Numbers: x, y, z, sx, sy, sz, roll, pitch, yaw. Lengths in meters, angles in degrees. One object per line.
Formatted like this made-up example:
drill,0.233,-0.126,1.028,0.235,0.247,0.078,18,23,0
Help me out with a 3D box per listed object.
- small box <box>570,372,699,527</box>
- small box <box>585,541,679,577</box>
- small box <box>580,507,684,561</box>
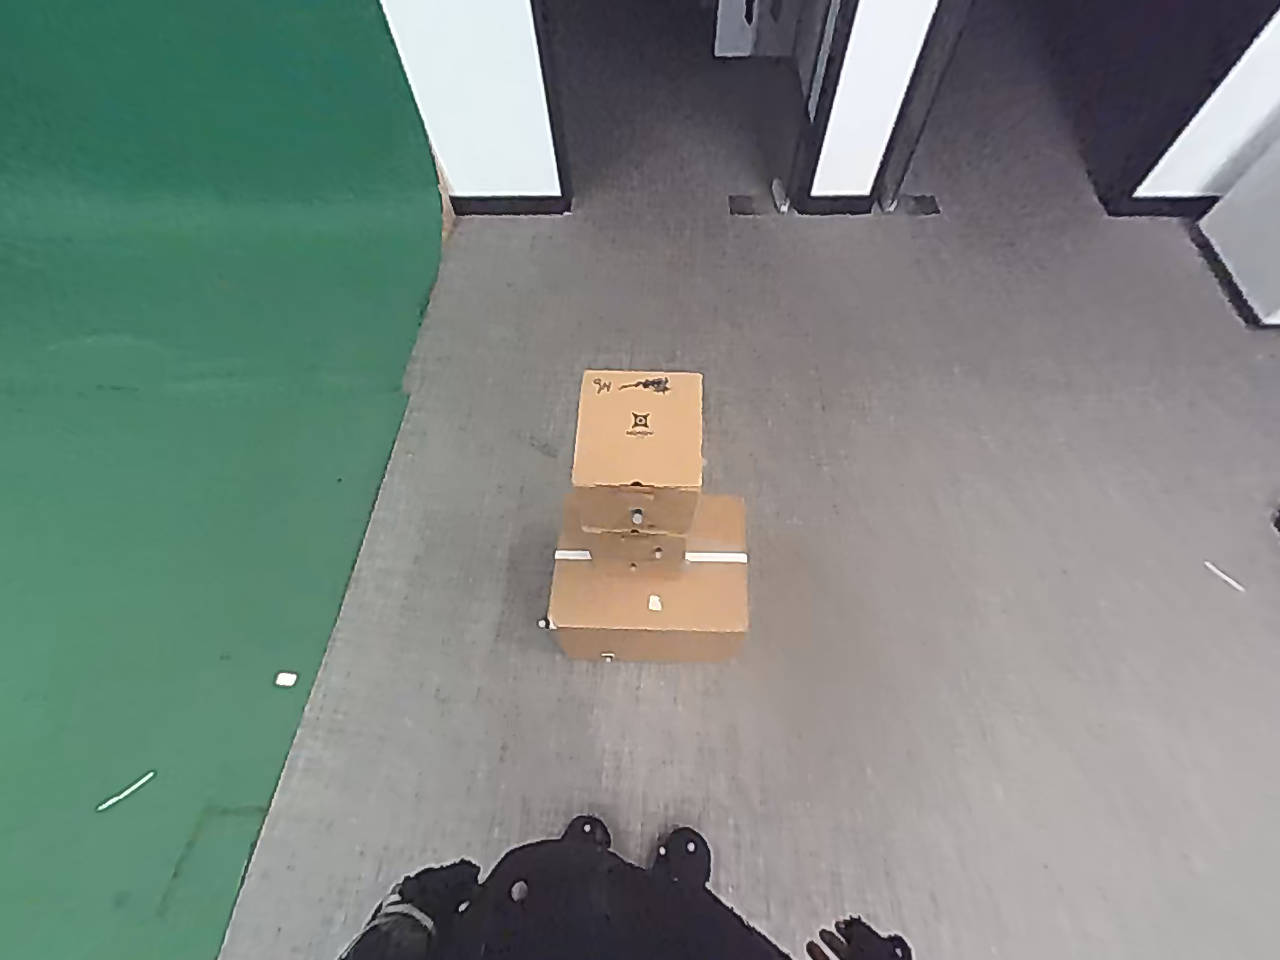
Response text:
small box,-0.002,-0.037,0.790,0.168,0.176,0.179,2,67,2
small box,-0.001,0.089,1.087,0.179,0.176,0.168,8,65,5
small box,-0.007,0.036,0.936,0.168,0.176,0.179,2,65,1
